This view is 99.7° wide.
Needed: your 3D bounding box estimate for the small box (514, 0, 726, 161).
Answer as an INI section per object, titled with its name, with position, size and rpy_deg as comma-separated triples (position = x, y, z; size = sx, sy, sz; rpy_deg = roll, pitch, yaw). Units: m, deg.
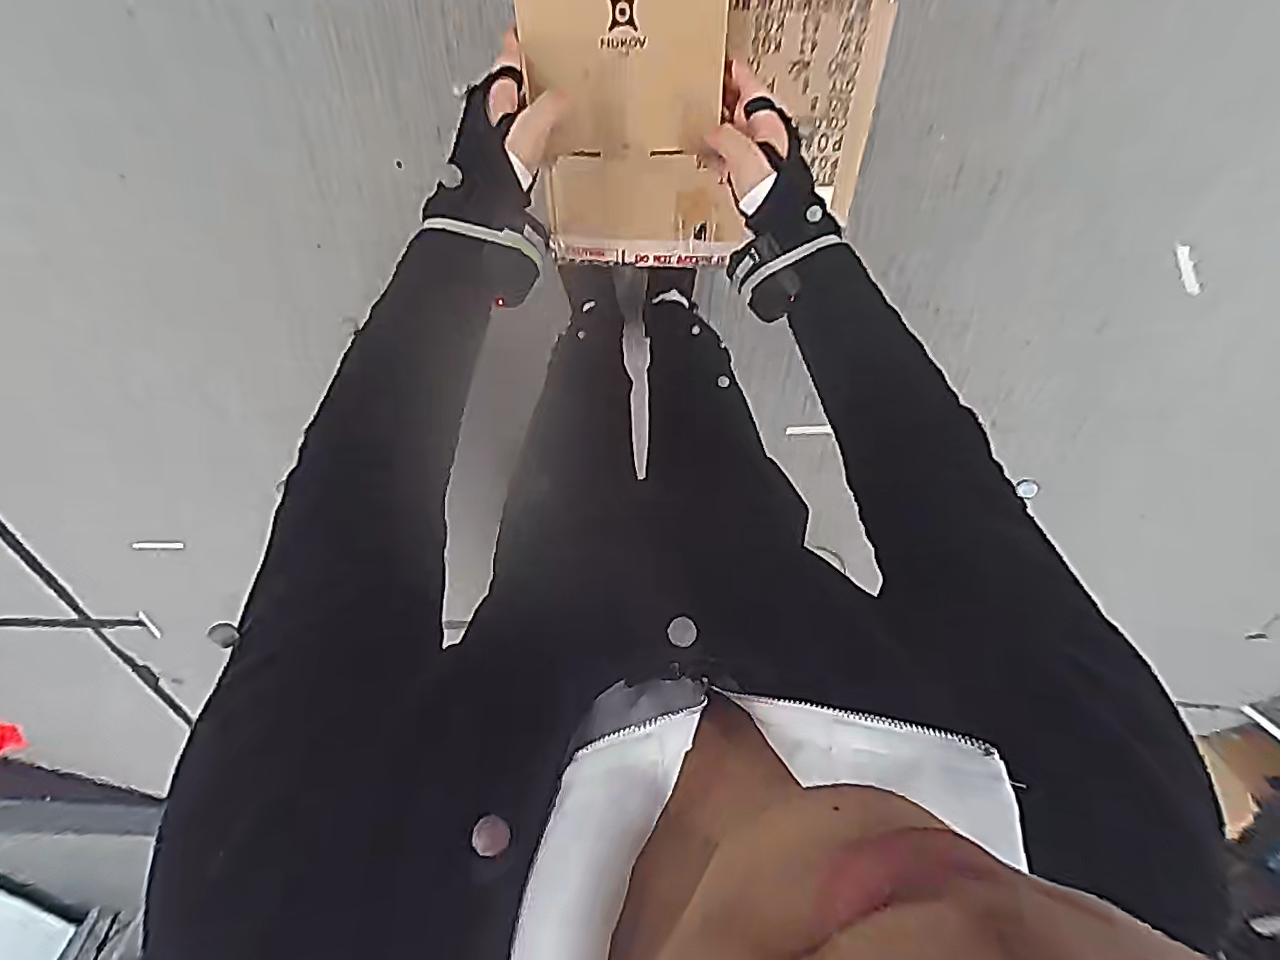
[small box]
position = -0.012, -0.404, 0.484
size = 0.168, 0.176, 0.179
rpy_deg = 0, 131, 2
